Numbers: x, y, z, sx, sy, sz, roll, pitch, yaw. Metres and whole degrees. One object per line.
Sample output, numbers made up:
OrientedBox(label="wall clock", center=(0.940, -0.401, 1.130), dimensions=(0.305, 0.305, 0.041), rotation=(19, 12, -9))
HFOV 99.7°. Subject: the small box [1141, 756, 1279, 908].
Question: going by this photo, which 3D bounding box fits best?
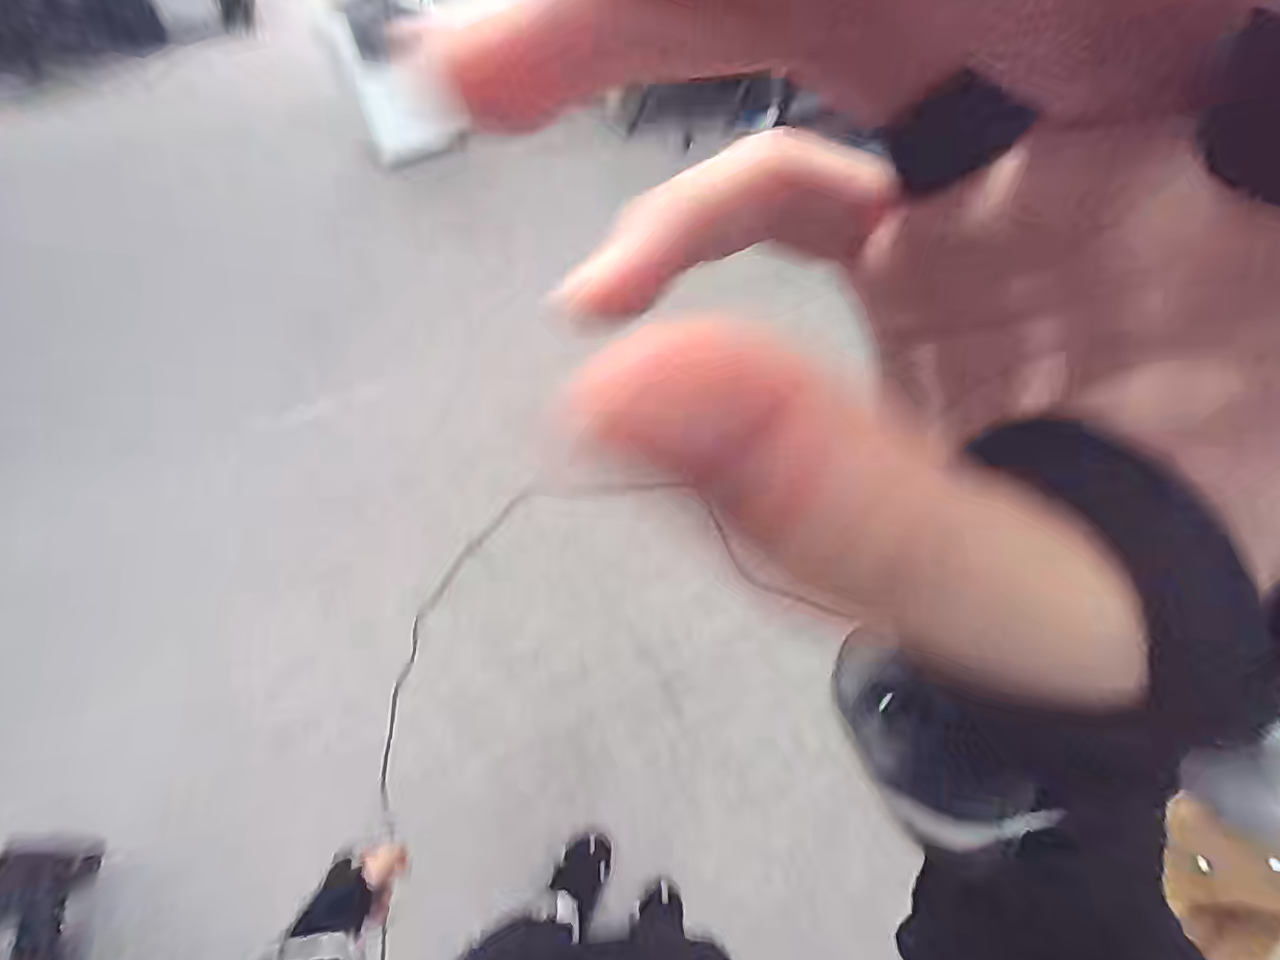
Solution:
OrientedBox(label="small box", center=(1.102, 0.643, 0.999), dimensions=(0.179, 0.176, 0.168), rotation=(-27, 61, -16))
